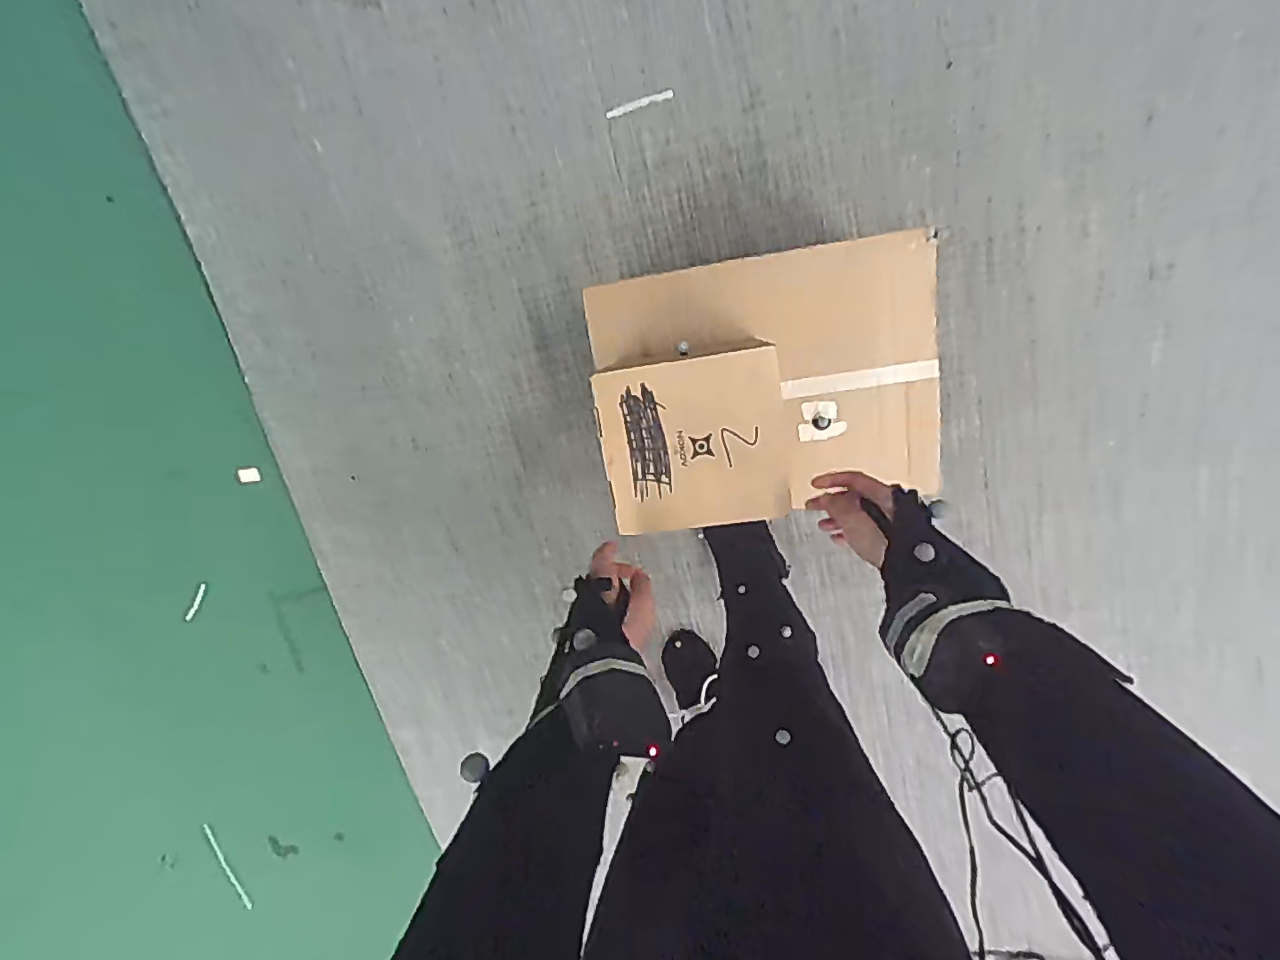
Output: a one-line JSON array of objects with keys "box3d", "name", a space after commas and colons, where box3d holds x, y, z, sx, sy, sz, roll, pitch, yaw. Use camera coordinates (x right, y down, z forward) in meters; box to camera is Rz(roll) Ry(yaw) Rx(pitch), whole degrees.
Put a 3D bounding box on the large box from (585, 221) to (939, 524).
[{"box3d": [0.166, -0.152, 0.802, 0.408, 0.320, 0.320, -7, 106, 8], "name": "large box"}]
